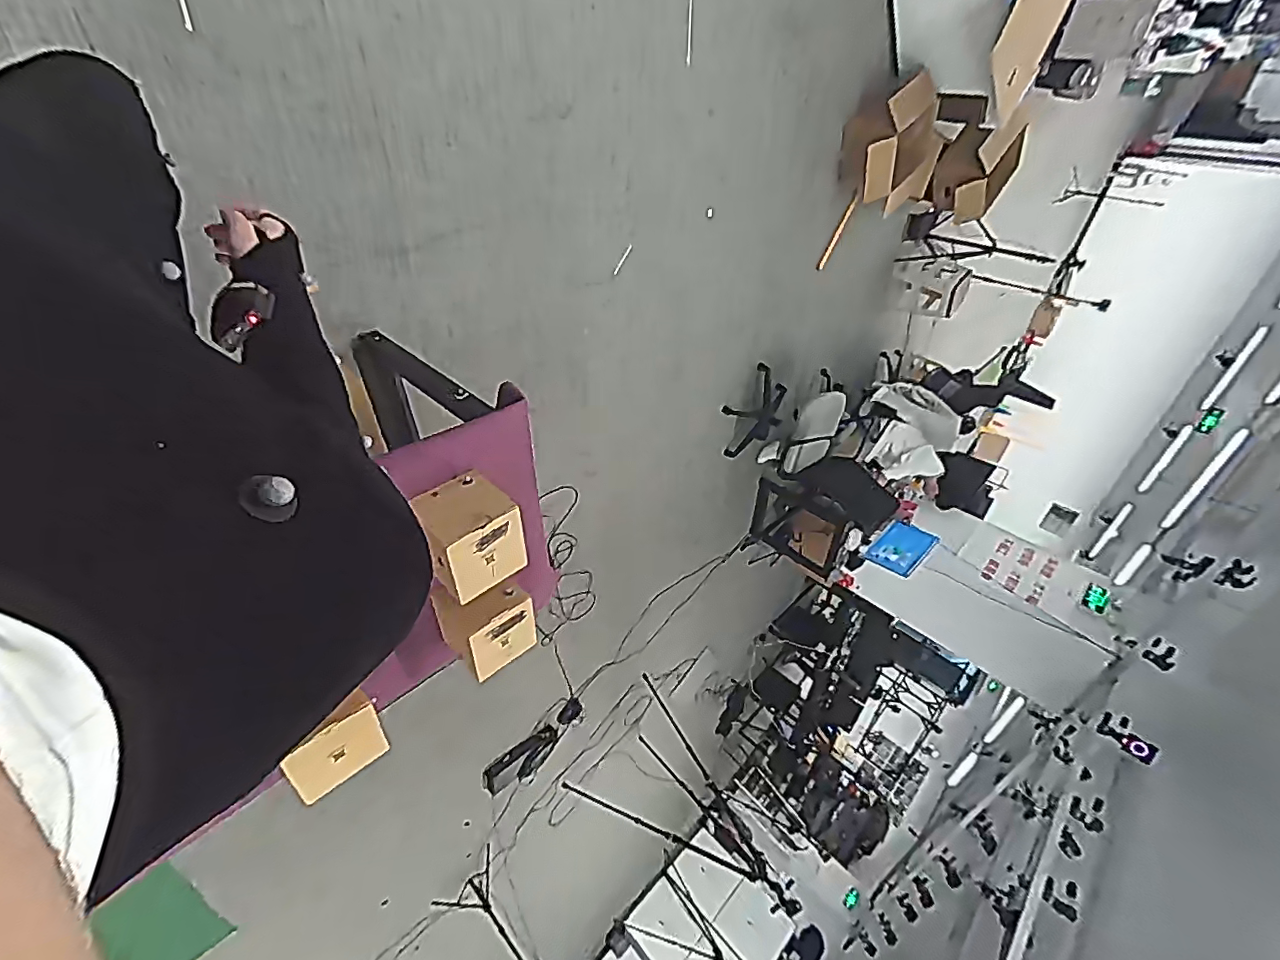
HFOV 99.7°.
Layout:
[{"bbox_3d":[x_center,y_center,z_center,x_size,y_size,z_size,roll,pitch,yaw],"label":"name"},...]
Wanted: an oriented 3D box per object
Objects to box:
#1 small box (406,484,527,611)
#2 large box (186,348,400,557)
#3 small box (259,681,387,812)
[{"bbox_3d":[-0.358,0.128,1.122,0.168,0.176,0.179,-31,140,-34],"label":"small box"},{"bbox_3d":[-0.909,-0.082,1.450,0.320,0.320,0.408,-30,139,-34],"label":"large box"},{"bbox_3d":[-0.635,0.502,1.075,0.168,0.176,0.179,-29,136,-36],"label":"small box"}]
